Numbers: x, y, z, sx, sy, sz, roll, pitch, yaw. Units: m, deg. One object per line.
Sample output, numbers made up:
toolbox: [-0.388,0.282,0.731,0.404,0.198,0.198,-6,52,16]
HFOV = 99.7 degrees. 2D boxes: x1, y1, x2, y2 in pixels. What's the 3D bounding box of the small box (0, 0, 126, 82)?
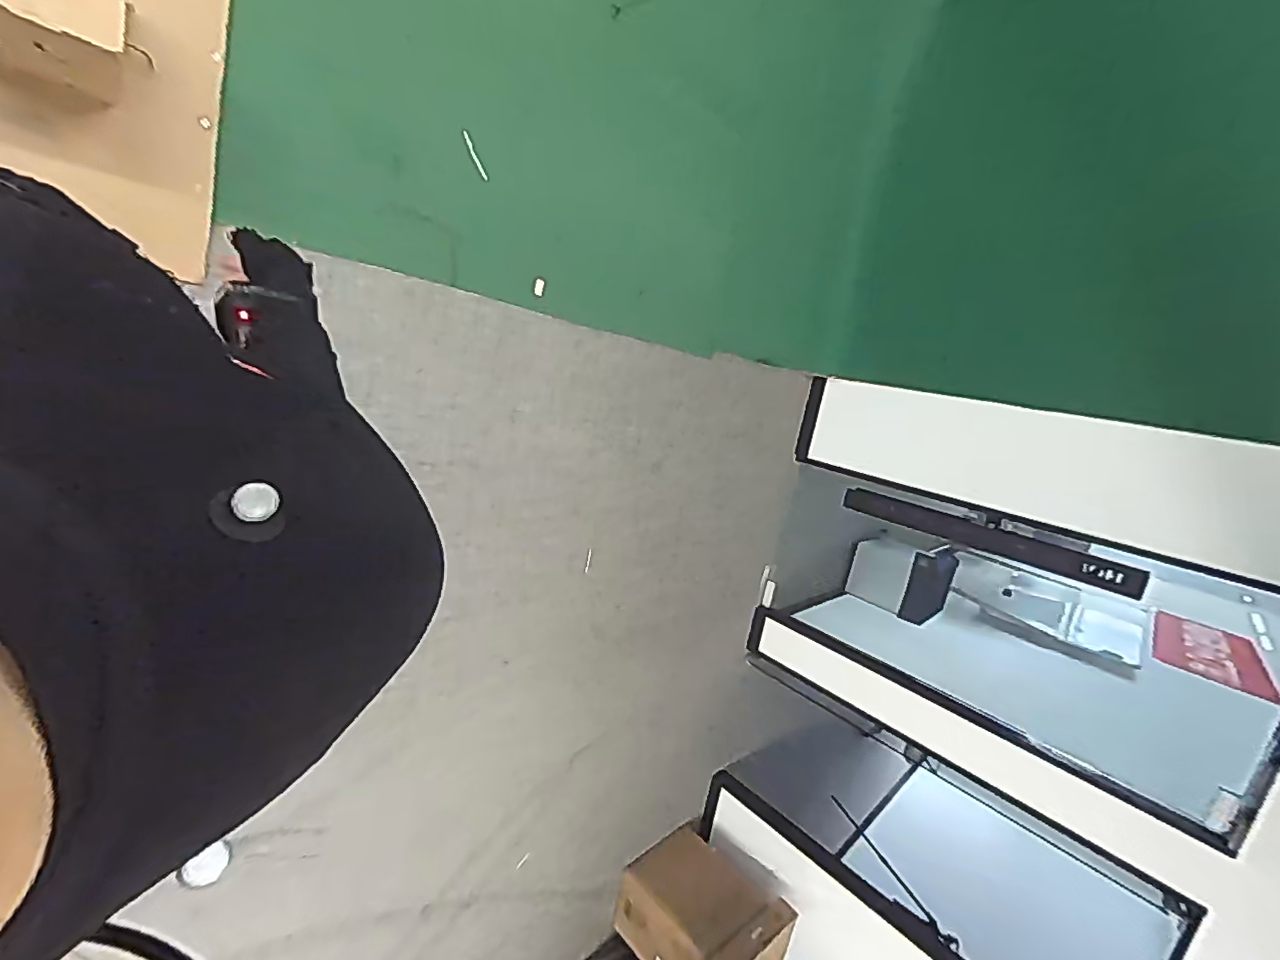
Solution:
small box: [-0.806,-0.684,0.723,0.168,0.176,0.179,2,103,-46]
